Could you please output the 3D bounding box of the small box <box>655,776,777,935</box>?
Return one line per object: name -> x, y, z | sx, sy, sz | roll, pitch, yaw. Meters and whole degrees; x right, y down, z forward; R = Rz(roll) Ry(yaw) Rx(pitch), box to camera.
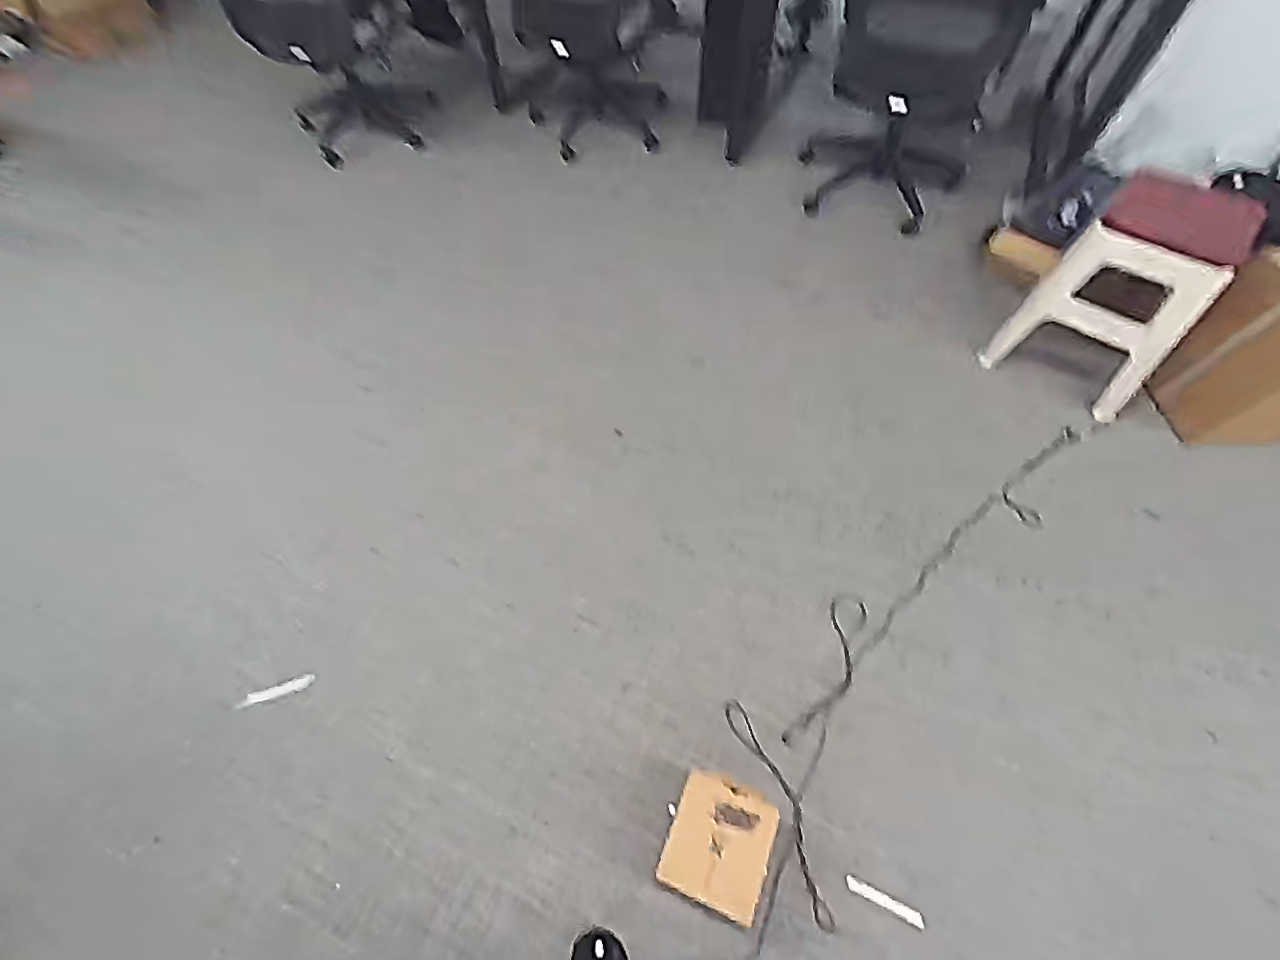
small box -> 0.131, 0.666, 0.978 | 0.168, 0.176, 0.179 | 20, 61, 14
